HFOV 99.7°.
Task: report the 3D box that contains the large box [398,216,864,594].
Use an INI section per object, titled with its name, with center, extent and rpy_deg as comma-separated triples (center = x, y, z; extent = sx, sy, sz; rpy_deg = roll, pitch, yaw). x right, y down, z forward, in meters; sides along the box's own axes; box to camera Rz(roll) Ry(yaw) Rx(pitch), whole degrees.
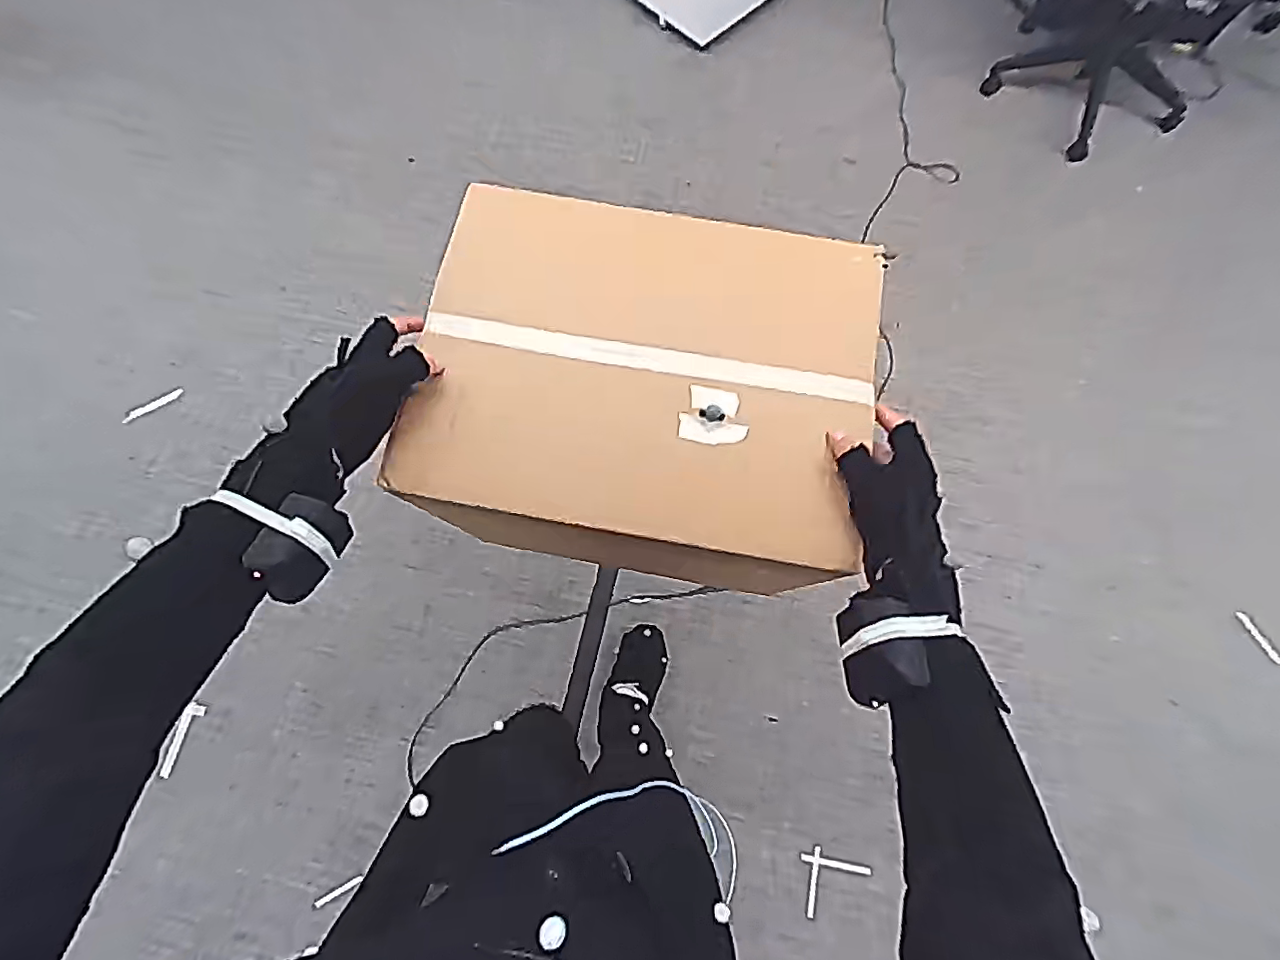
[large box]
center = 0.001, -0.056, 0.650
extent = 0.408, 0.320, 0.320
rpy_deg = 10, 76, 2
